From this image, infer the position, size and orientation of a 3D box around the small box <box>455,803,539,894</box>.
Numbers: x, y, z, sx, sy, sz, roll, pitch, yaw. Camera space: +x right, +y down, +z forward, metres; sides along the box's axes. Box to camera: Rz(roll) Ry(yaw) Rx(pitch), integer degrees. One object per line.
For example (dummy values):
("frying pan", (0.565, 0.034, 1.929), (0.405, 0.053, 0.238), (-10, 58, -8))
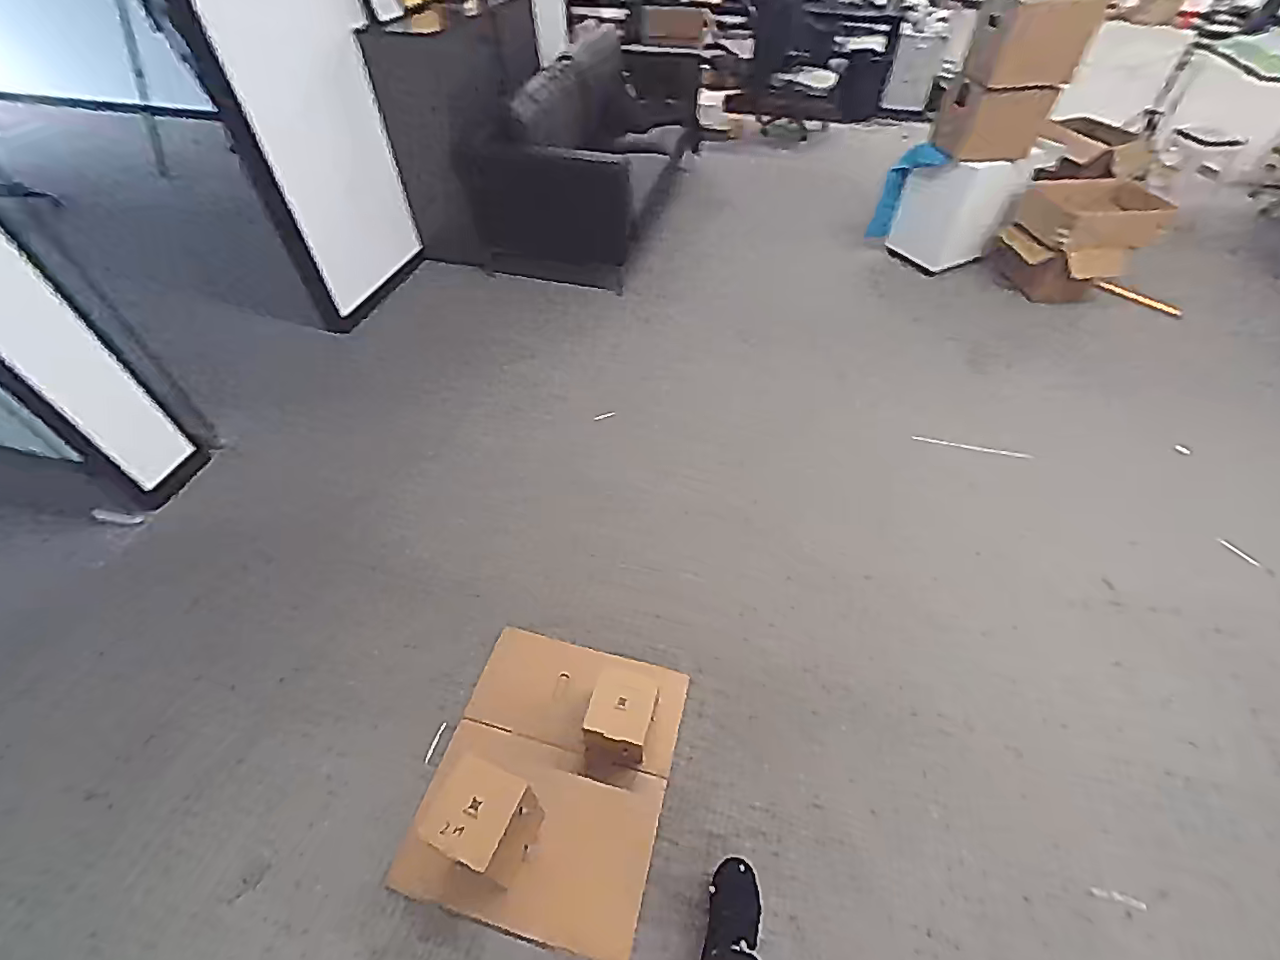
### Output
("small box", (-0.355, 0.848, 1.291), (0.168, 0.176, 0.179), (18, 51, 15))

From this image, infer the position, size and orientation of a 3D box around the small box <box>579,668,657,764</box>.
("small box", (-0.053, 0.647, 1.472), (0.168, 0.176, 0.179), (13, 50, 10))

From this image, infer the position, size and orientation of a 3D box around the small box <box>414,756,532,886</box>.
("small box", (-0.347, 0.738, 1.167), (0.168, 0.176, 0.179), (18, 51, 15))
